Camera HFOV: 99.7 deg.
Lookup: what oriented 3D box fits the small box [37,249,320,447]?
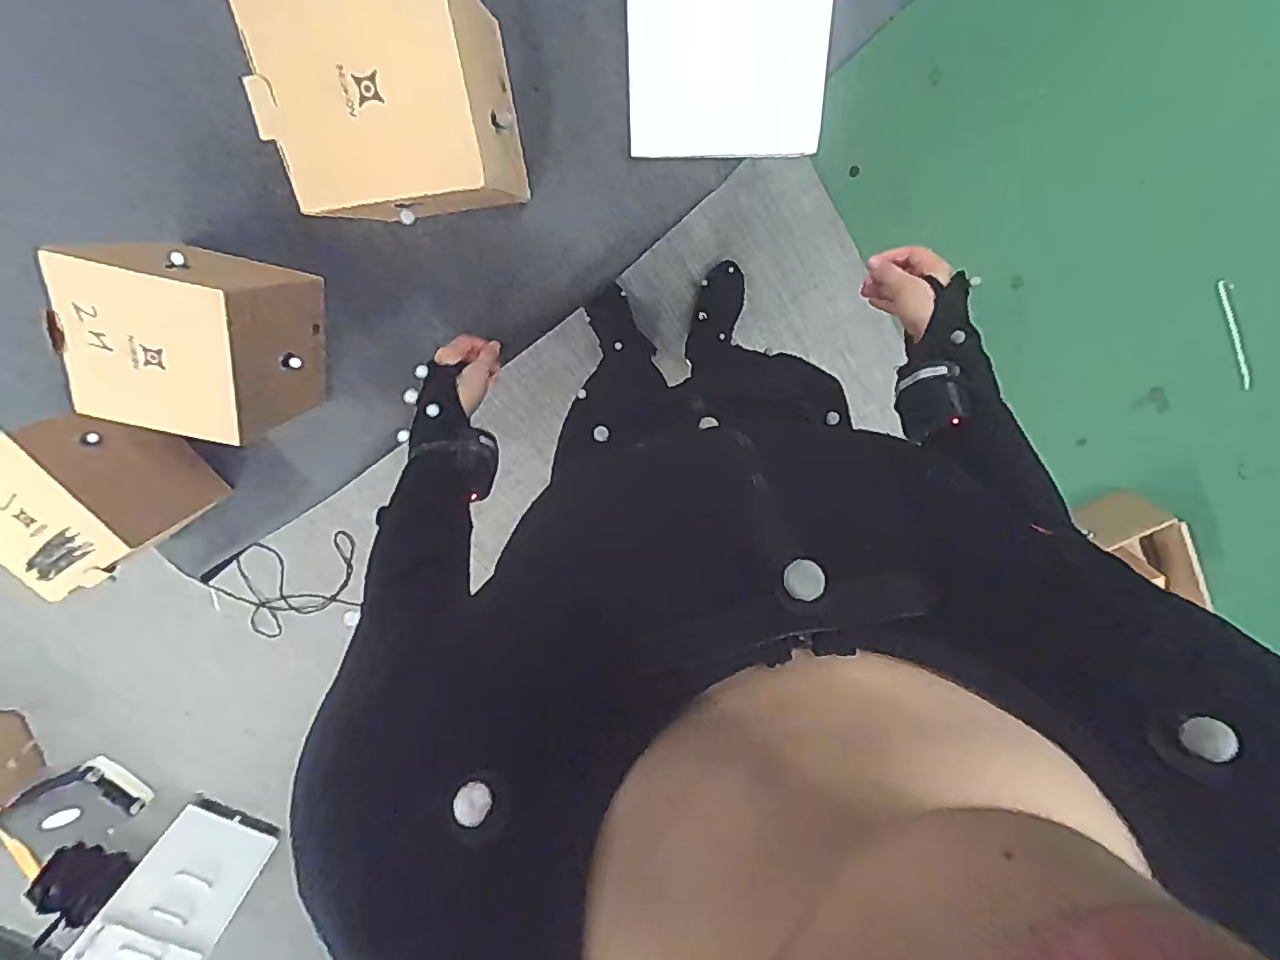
[{"bbox_3d":[-0.490,-0.158,0.612,0.179,0.176,0.168,12,114,-3],"label":"small box"}]

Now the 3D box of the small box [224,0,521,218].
[{"bbox_3d":[-0.222,-0.349,0.510,0.179,0.176,0.168,-5,114,6],"label":"small box"}]
